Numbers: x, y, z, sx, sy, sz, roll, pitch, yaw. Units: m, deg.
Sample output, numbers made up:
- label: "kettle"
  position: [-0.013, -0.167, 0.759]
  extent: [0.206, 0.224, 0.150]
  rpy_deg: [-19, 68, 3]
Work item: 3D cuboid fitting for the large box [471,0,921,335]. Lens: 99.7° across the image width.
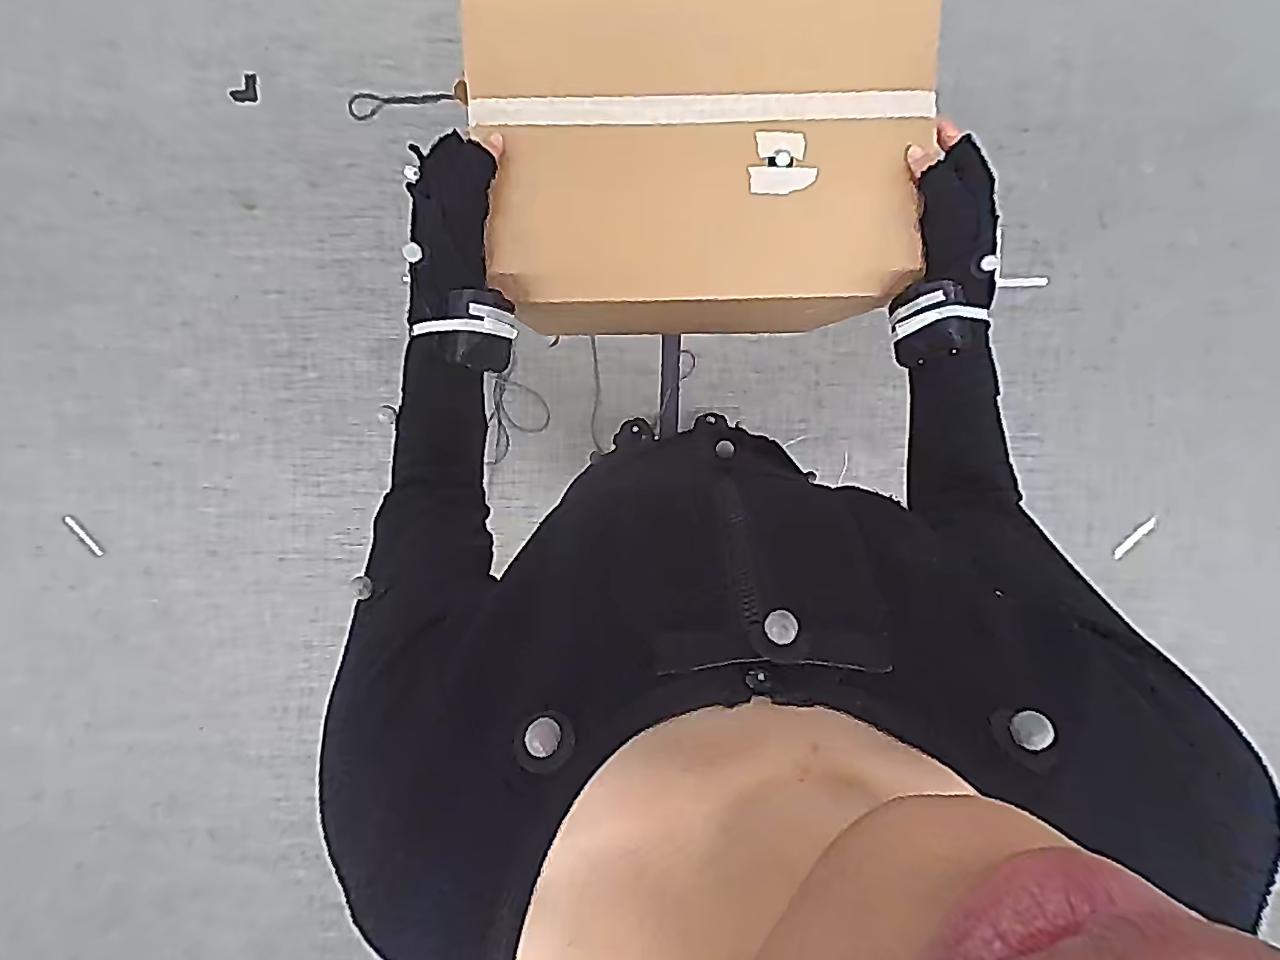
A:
- label: "large box"
  position: [0.049, -0.353, 0.637]
  extent: [0.408, 0.320, 0.320]
  rpy_deg: [-2, 100, -2]
